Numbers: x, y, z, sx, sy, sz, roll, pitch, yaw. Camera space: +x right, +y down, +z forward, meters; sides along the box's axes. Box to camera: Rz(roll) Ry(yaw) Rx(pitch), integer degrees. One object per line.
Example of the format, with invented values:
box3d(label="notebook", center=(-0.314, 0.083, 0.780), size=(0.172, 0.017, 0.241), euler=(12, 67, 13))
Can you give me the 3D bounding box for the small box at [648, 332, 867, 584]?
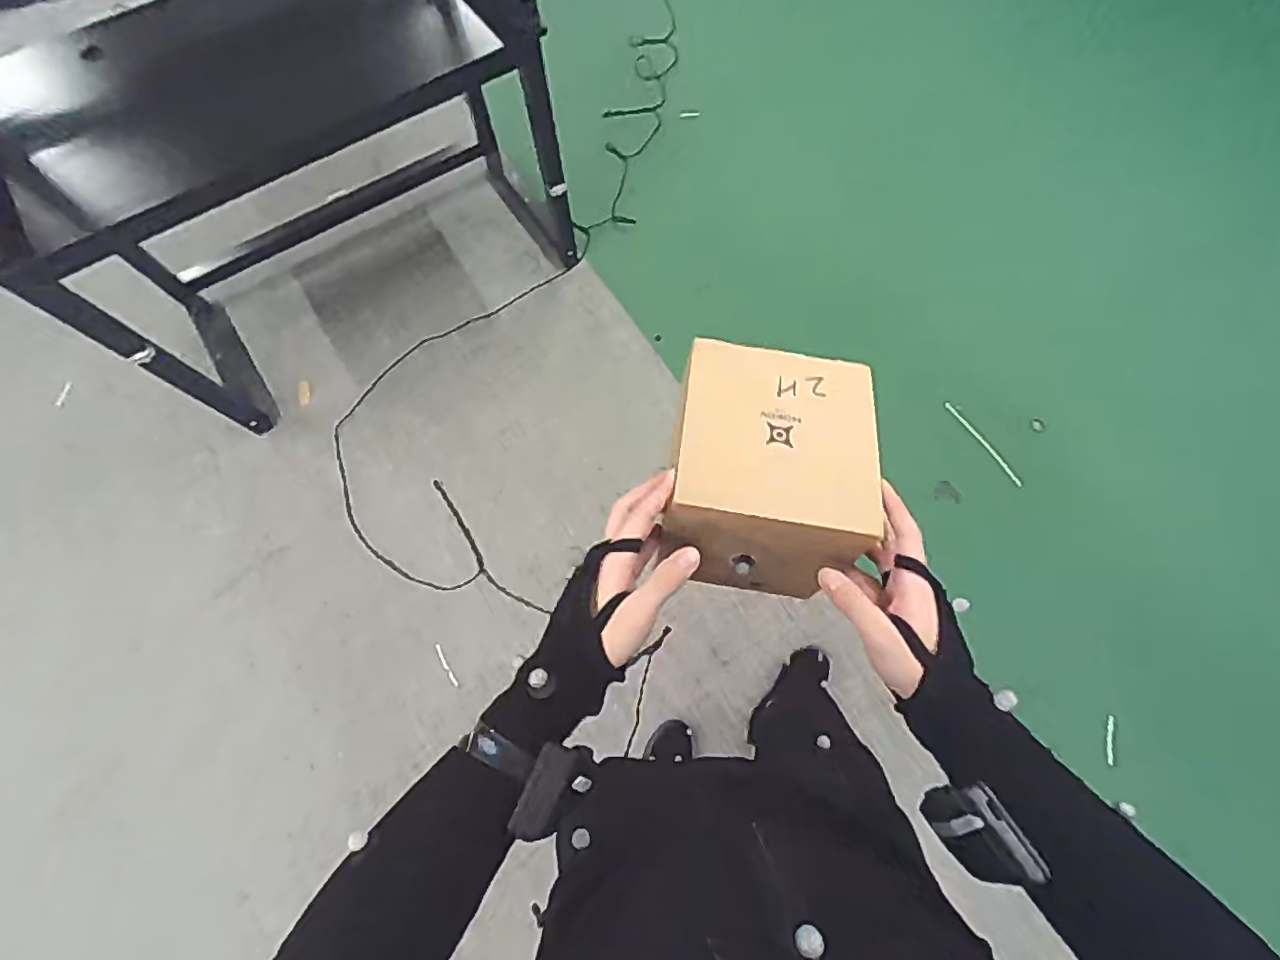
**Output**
box3d(label="small box", center=(0.103, -0.012, 0.529), size=(0.168, 0.176, 0.179), euler=(9, 60, 0))
